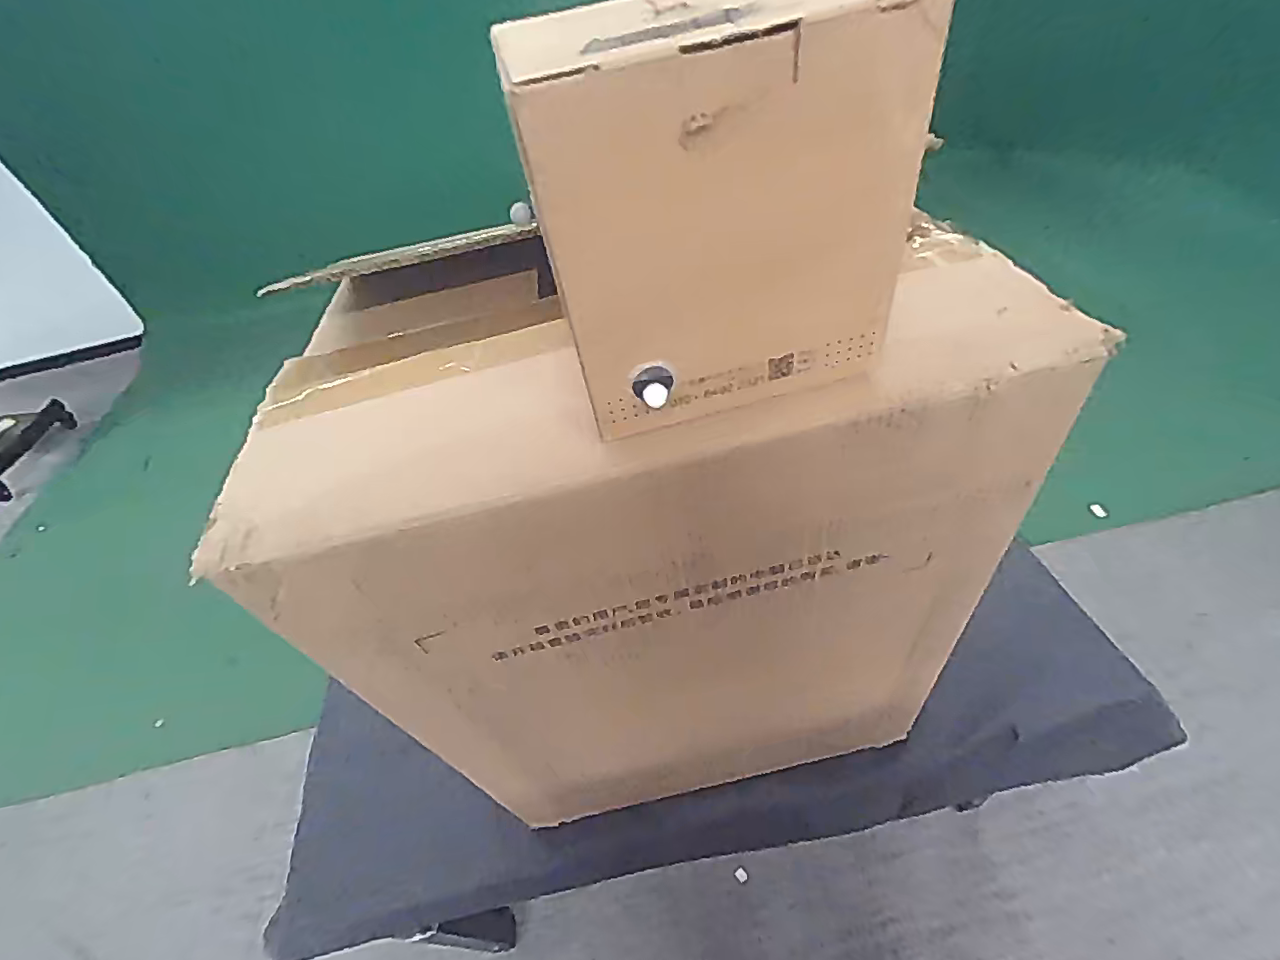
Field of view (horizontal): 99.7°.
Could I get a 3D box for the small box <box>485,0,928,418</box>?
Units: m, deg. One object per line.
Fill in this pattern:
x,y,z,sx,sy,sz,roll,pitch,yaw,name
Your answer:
0.022,-0.153,0.305,0.168,0.176,0.179,-15,46,-3,small box
